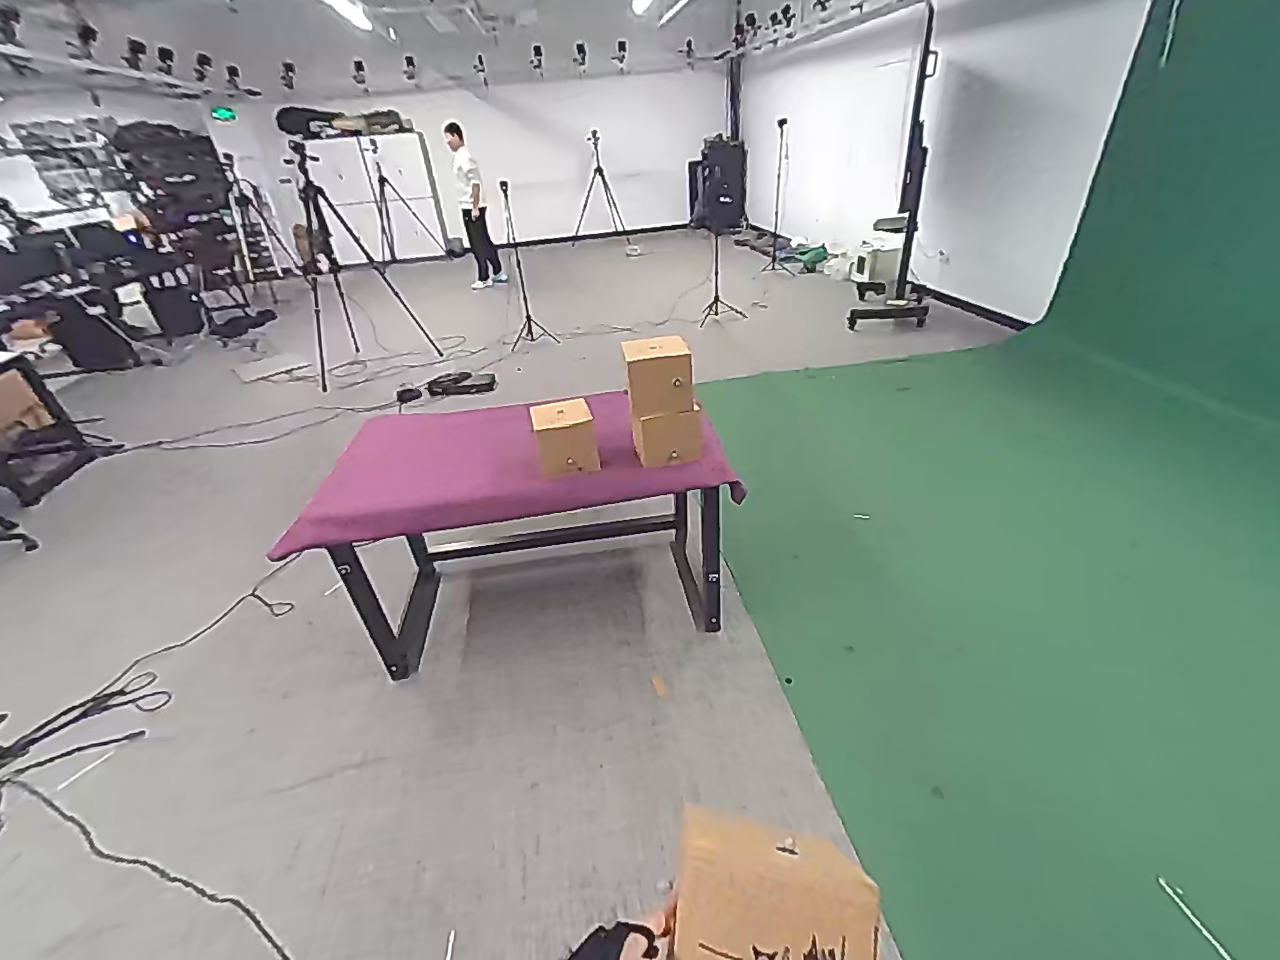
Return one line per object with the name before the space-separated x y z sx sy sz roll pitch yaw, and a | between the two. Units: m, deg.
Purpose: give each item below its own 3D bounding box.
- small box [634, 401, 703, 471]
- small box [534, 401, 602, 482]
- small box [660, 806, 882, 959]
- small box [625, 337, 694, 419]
small box | 0.082 -0.146 1.599 0.179 0.176 0.168 -11 32 -7
small box | -0.214 -0.115 1.598 0.168 0.176 0.179 -12 32 -9
small box | 0.119 0.451 0.542 0.179 0.176 0.168 10 71 7
small box | 0.055 -0.286 1.518 0.179 0.176 0.168 -8 32 -2
